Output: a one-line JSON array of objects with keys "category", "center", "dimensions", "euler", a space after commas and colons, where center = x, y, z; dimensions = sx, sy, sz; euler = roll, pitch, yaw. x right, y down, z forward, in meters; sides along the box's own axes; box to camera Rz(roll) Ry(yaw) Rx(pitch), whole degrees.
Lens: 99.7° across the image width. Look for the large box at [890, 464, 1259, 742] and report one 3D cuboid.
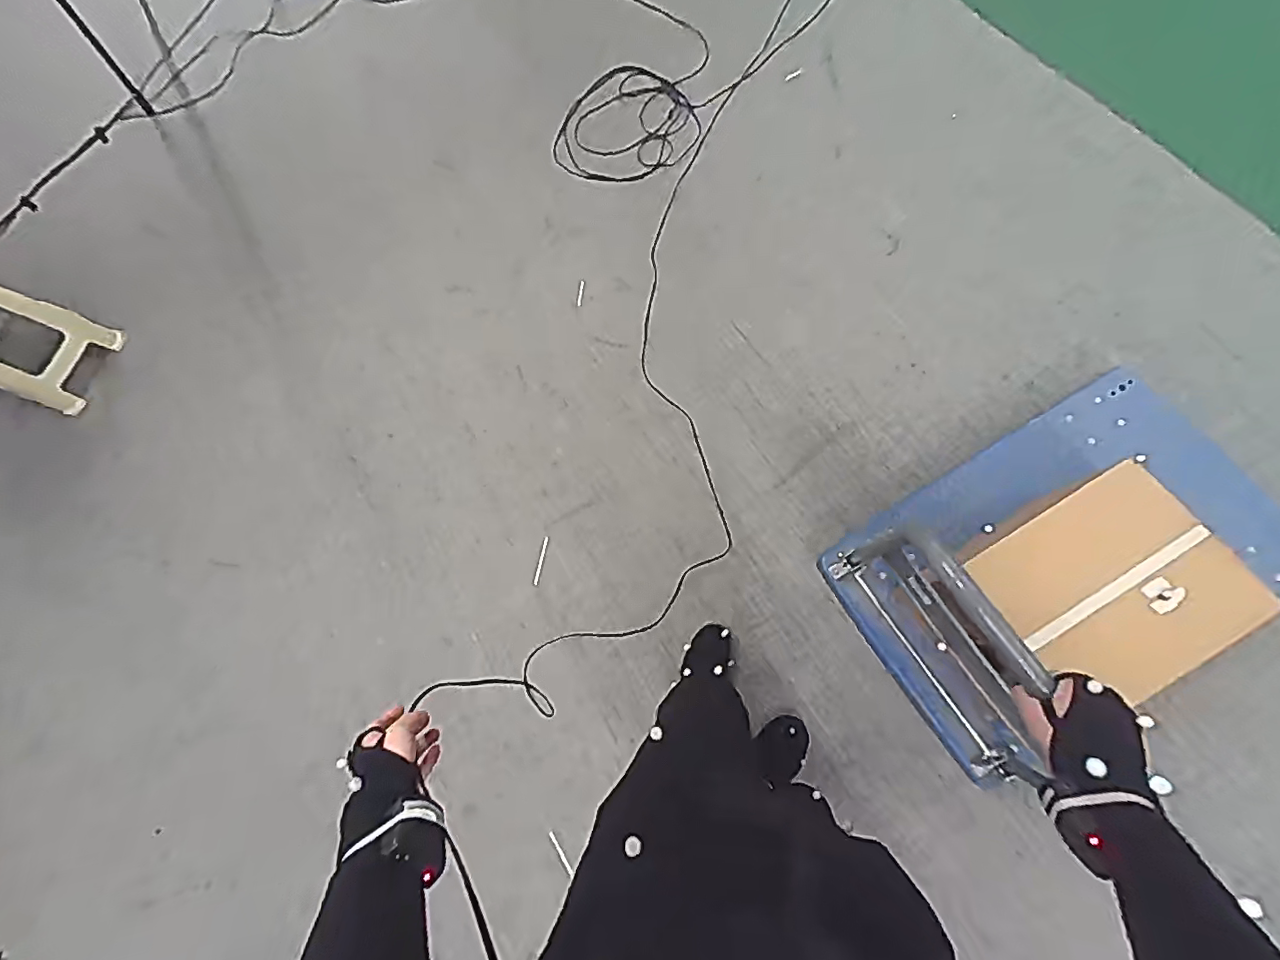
[{"category": "large box", "center": [0.791, 0.241, 1.064], "dimensions": [0.408, 0.320, 0.320], "euler": [-33, 72, -1]}]
